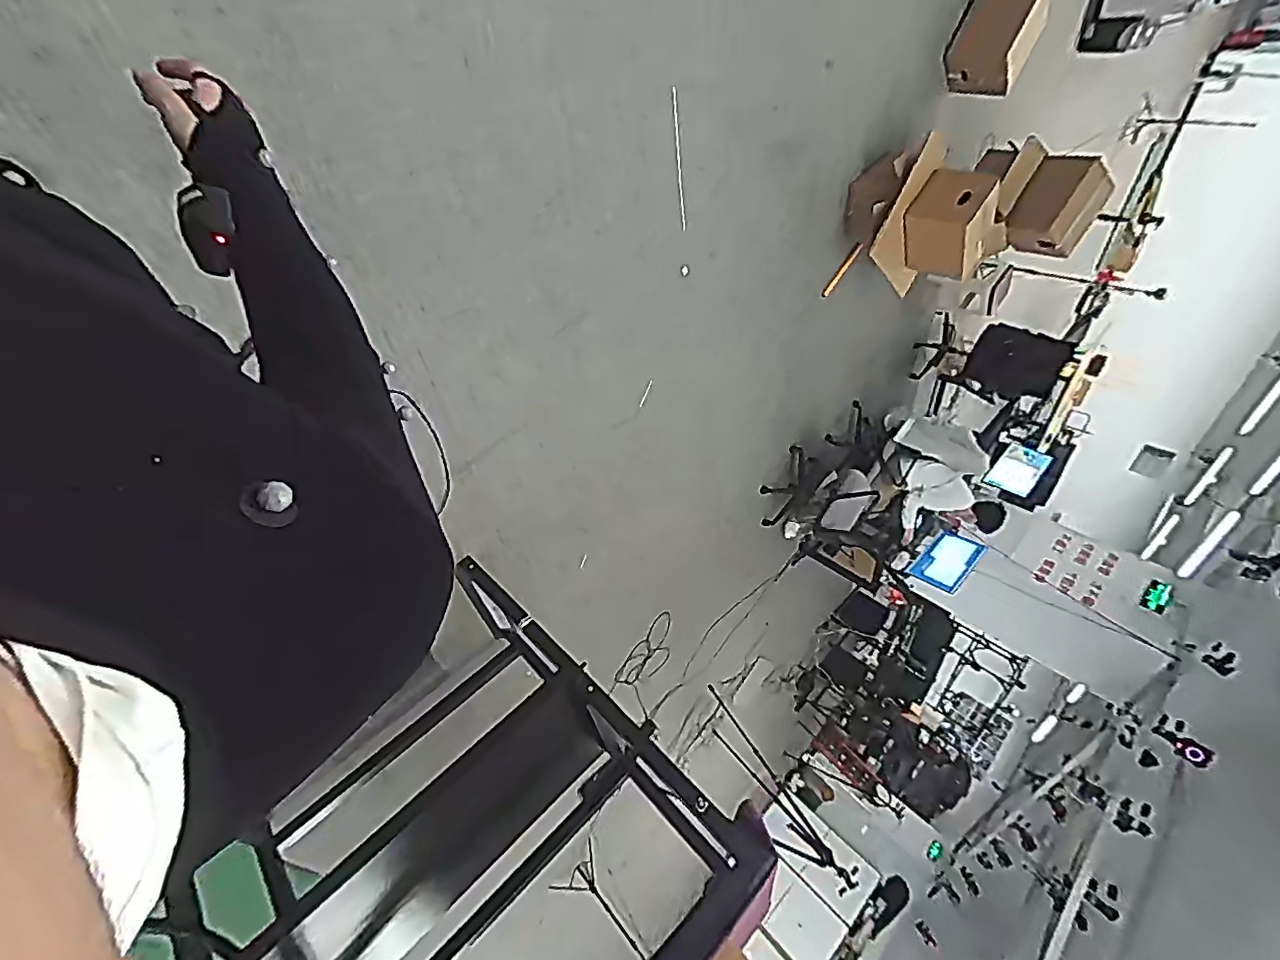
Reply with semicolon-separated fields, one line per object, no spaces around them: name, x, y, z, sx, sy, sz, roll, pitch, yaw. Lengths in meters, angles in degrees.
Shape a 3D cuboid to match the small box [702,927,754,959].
small box;0.210;1.204;1.262;0.179;0.176;0.168;-39;141;-24
